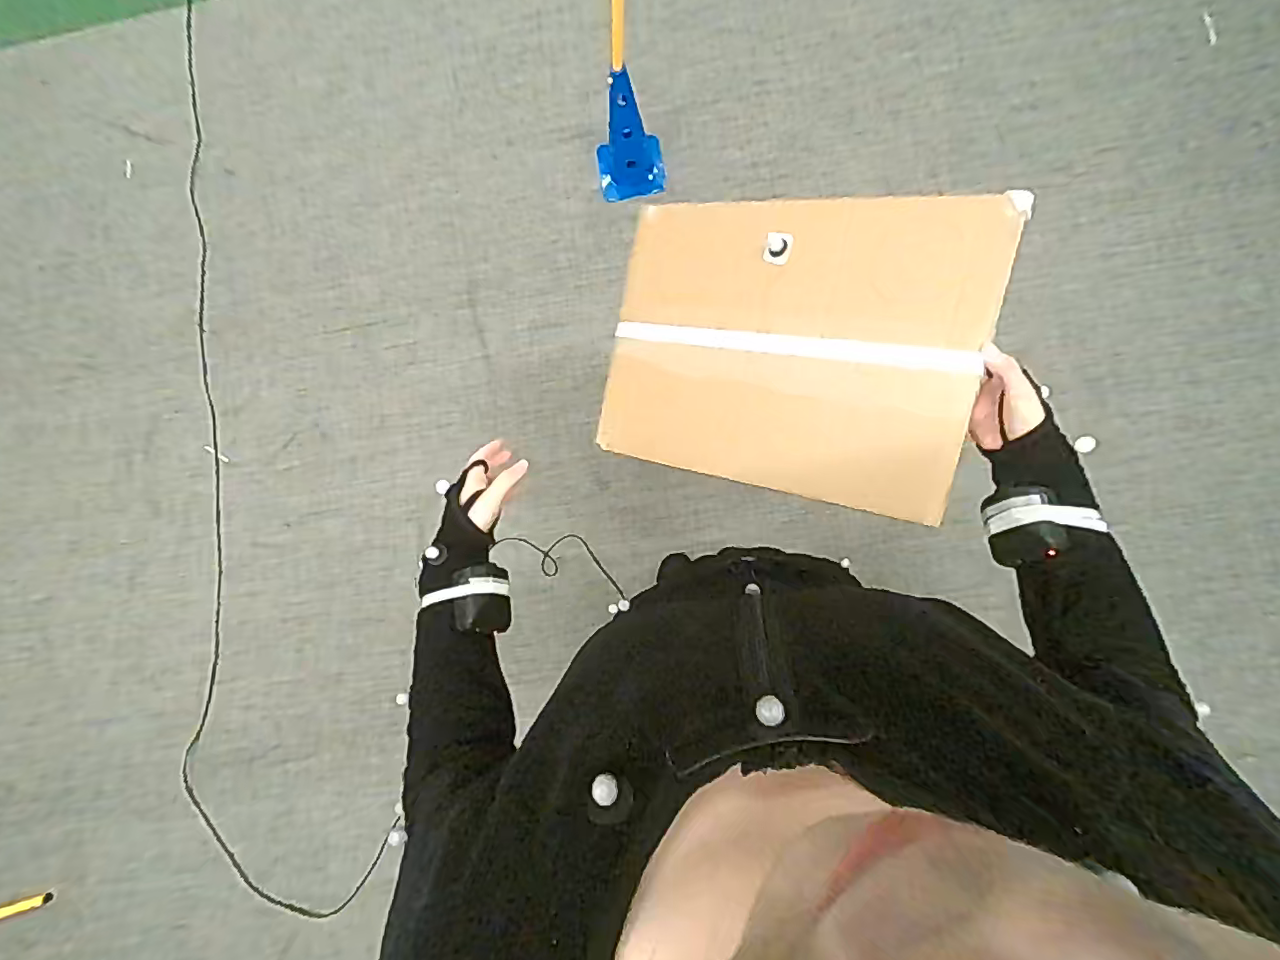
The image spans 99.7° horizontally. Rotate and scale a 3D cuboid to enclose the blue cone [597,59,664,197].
[{"bbox_3d":[-0.041,-0.997,1.506,0.193,0.380,0.192,-11,82,1],"label":"blue cone"}]
